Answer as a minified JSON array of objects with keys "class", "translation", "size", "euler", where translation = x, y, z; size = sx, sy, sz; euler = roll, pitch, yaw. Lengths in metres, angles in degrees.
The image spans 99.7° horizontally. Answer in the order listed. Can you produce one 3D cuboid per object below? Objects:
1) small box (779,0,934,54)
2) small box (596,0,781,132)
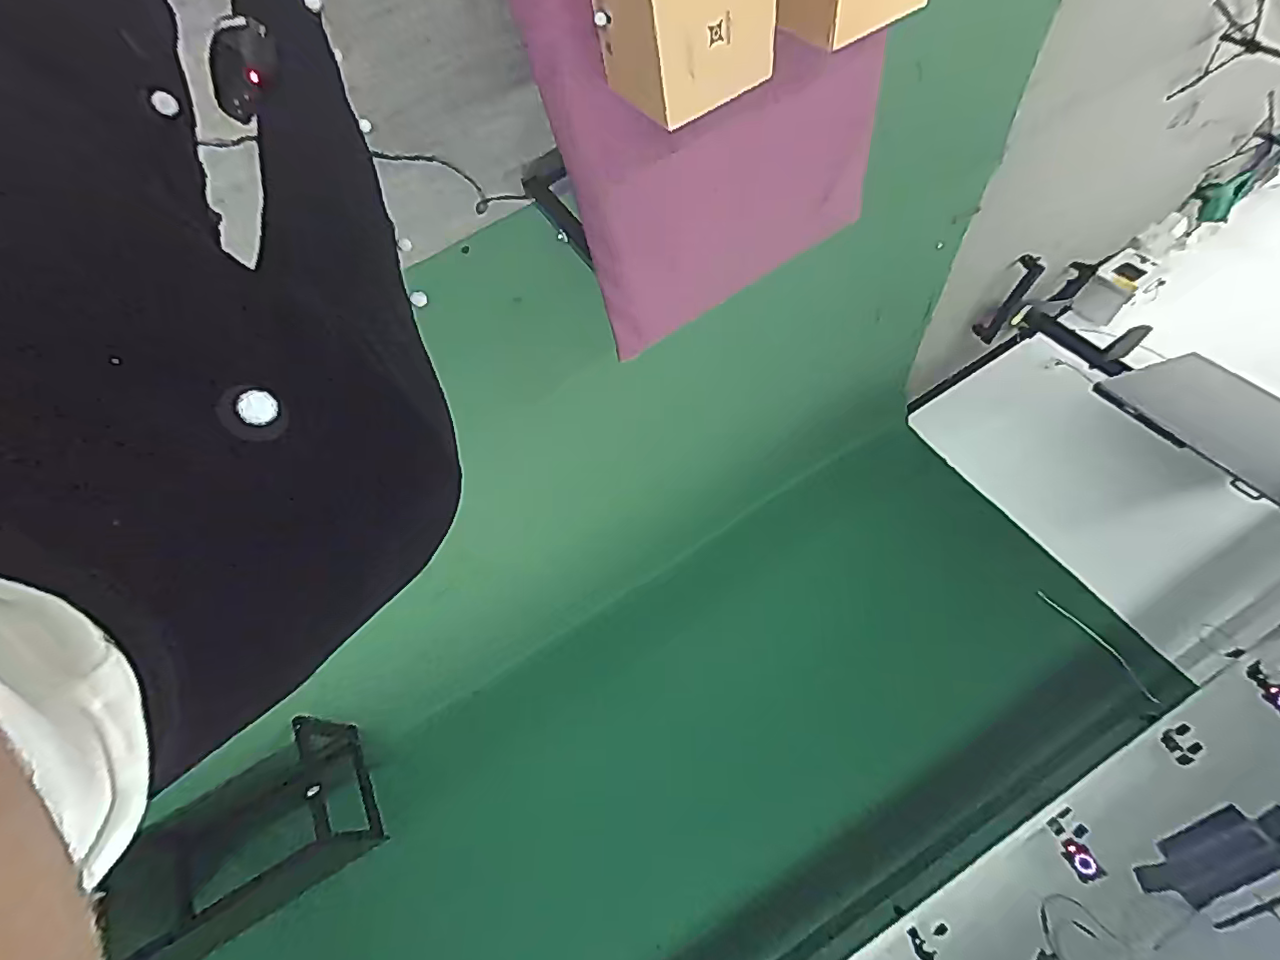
[{"class":"small box","translation":[0.295,-0.734,0.735],"size":[0.179,0.176,0.168],"euler":[-30,151,-7]},{"class":"small box","translation":[0.060,-0.597,0.694],"size":[0.179,0.176,0.168],"euler":[-31,150,-7]}]
